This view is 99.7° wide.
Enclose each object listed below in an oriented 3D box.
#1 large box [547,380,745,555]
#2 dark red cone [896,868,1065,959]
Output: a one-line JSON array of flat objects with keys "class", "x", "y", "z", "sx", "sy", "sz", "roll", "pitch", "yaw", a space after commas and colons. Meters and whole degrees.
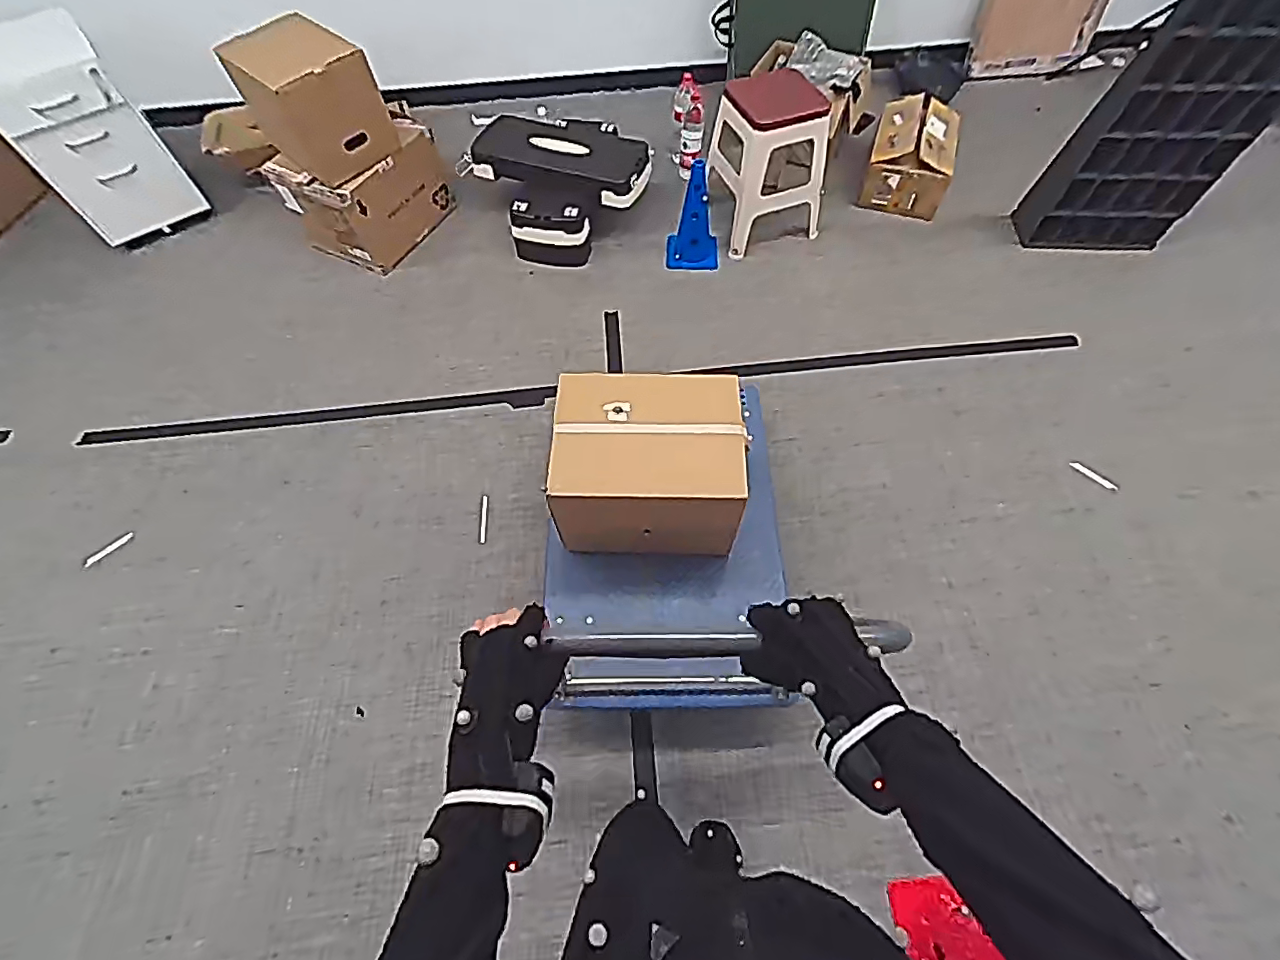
[{"class": "large box", "x": 0.019, "y": -0.017, "z": 1.280, "sx": 0.408, "sy": 0.320, "sz": 0.320, "roll": 0, "pitch": 61, "yaw": 2}, {"class": "dark red cone", "x": 0.628, "y": 0.818, "z": 0.928, "sx": 0.201, "sy": 0.394, "sz": 0.202, "roll": -5, "pitch": 61, "yaw": -3}]
